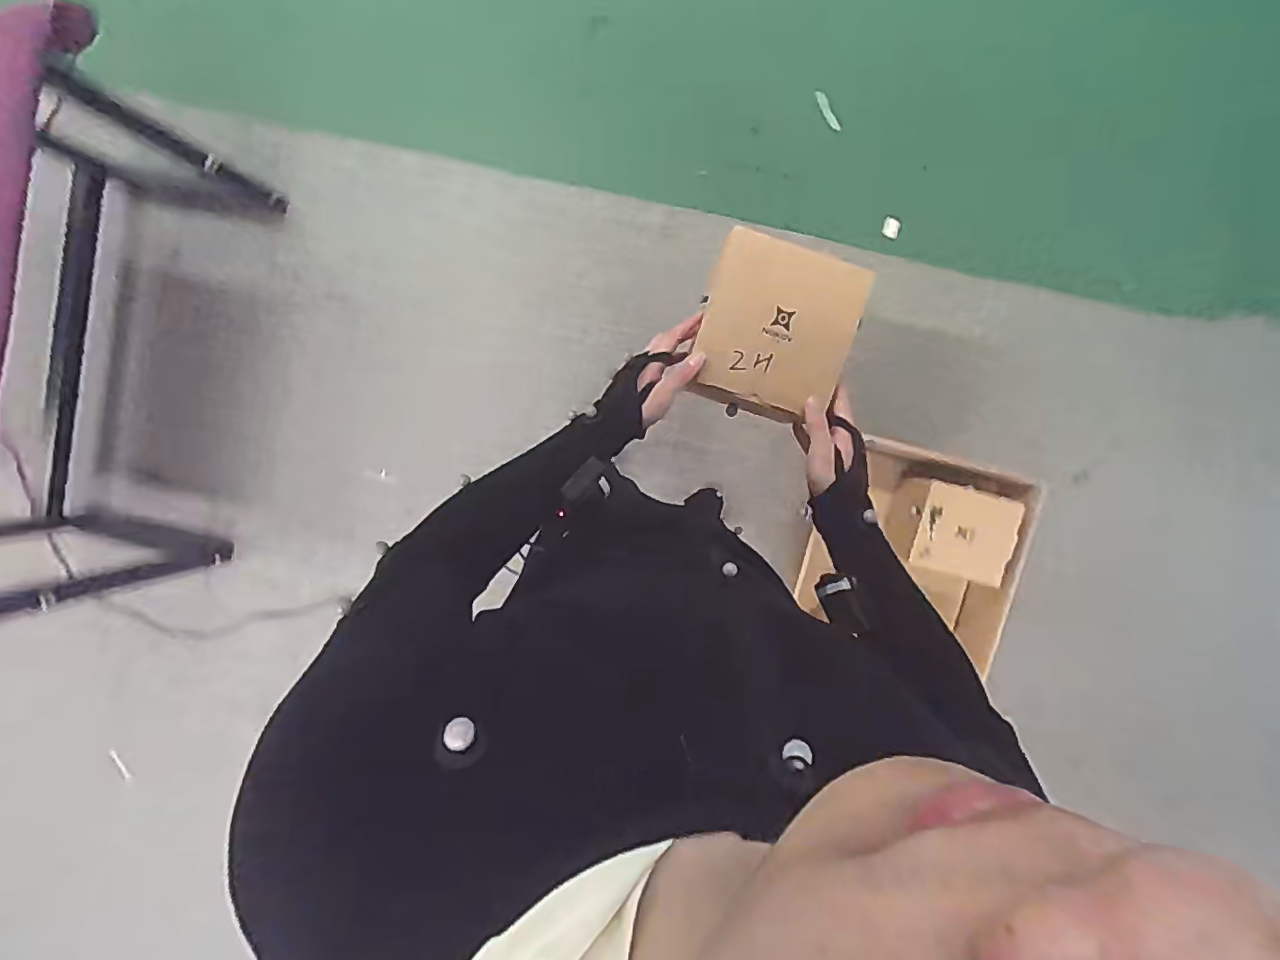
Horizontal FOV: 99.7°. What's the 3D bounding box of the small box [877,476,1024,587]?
[{"bbox_3d":[0.612,0.094,1.089,0.179,0.176,0.168,17,95,3],"label":"small box"}]
